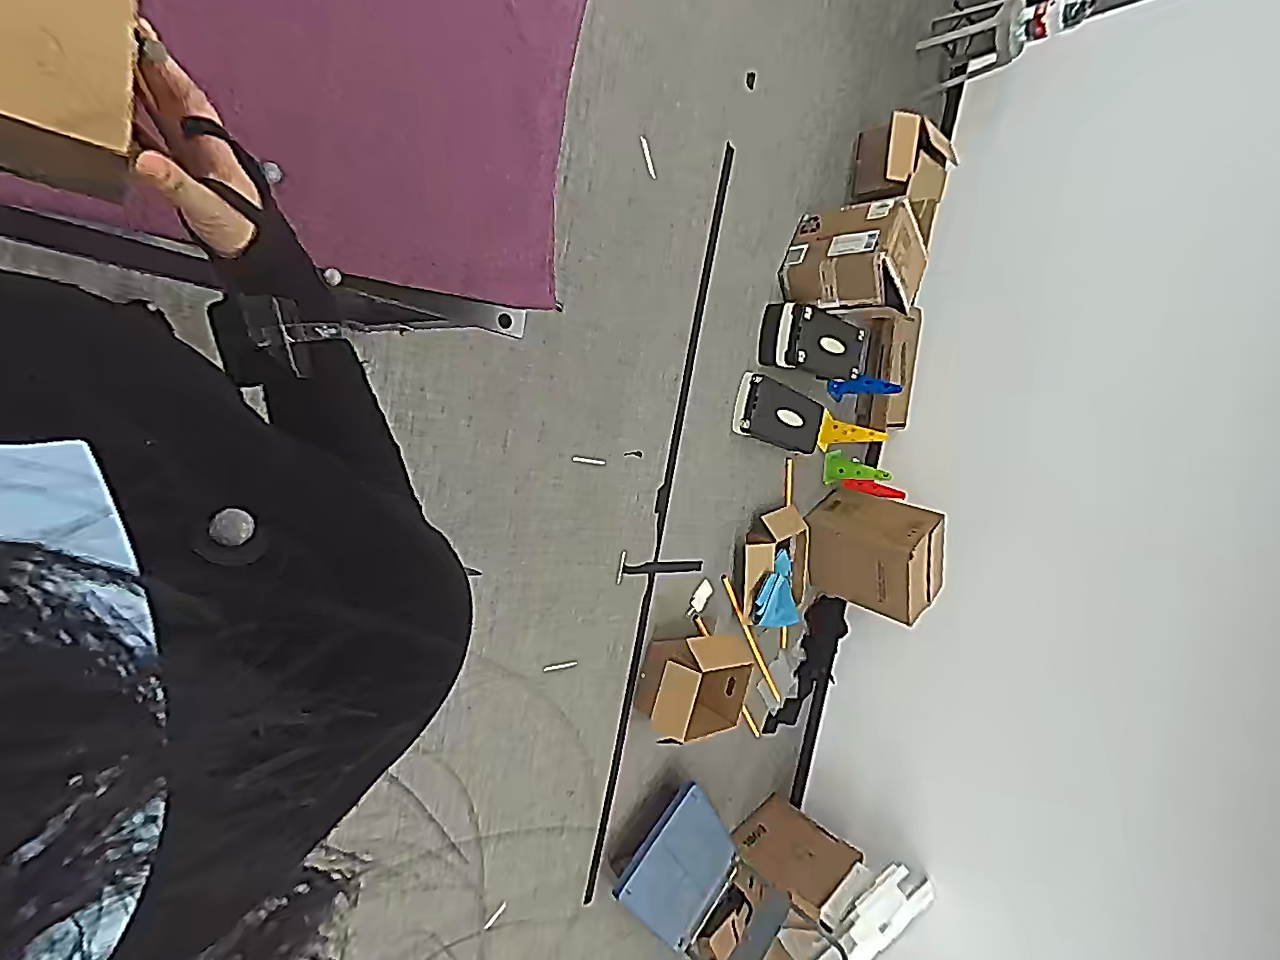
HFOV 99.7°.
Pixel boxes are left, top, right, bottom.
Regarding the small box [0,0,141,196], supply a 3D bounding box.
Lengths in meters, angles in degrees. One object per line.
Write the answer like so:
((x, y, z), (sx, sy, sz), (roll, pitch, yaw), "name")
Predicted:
((-0.391, -0.285, 0.299), (0.168, 0.176, 0.179), (3, 98, -45), "small box")
